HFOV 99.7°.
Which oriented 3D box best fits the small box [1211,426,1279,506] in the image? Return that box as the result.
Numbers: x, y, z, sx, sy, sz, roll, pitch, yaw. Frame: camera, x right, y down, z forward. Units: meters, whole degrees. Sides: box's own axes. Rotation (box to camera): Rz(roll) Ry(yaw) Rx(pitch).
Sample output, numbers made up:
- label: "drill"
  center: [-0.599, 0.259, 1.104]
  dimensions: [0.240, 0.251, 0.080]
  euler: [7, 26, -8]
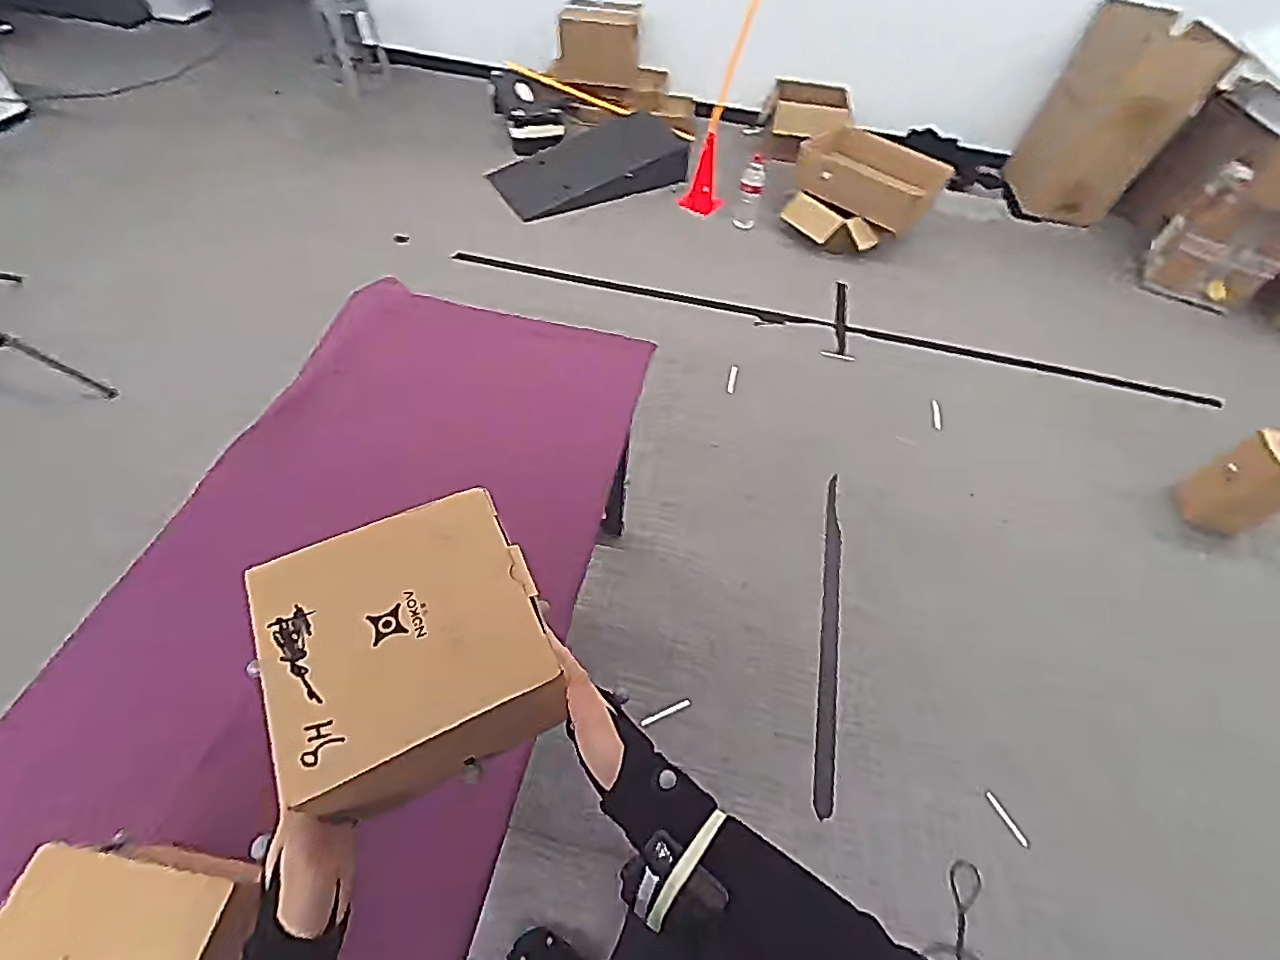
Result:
- label: "small box"
  center: [2.002, -0.039, 1.717]
  dimensions: [0.179, 0.176, 0.168]
  euler: [15, 54, 7]

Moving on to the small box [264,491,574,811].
- label: "small box"
  center: [-0.165, 0.141, 0.440]
  dimensions: [0.179, 0.176, 0.168]
  euler: [-19, 60, -19]

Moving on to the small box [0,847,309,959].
- label: "small box"
  center: [-0.441, 0.437, 0.479]
  dimensions: [0.179, 0.176, 0.168]
  euler: [9, 55, 2]
